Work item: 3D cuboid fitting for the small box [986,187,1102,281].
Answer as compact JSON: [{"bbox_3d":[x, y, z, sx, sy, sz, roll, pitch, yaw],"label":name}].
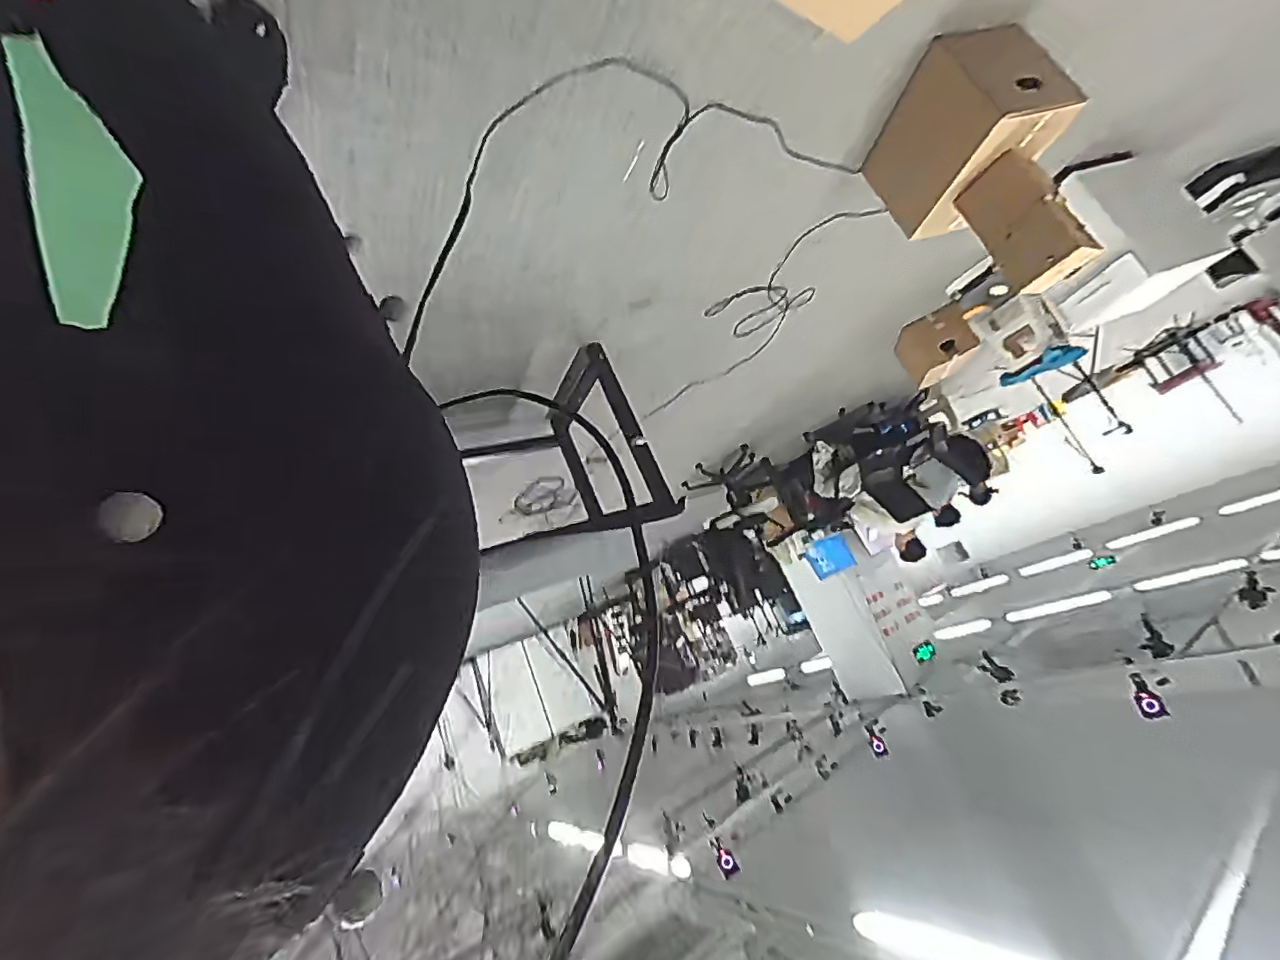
[{"bbox_3d":[1.102,-0.670,1.480,0.179,0.176,0.168,-15,161,-35],"label":"small box"}]
